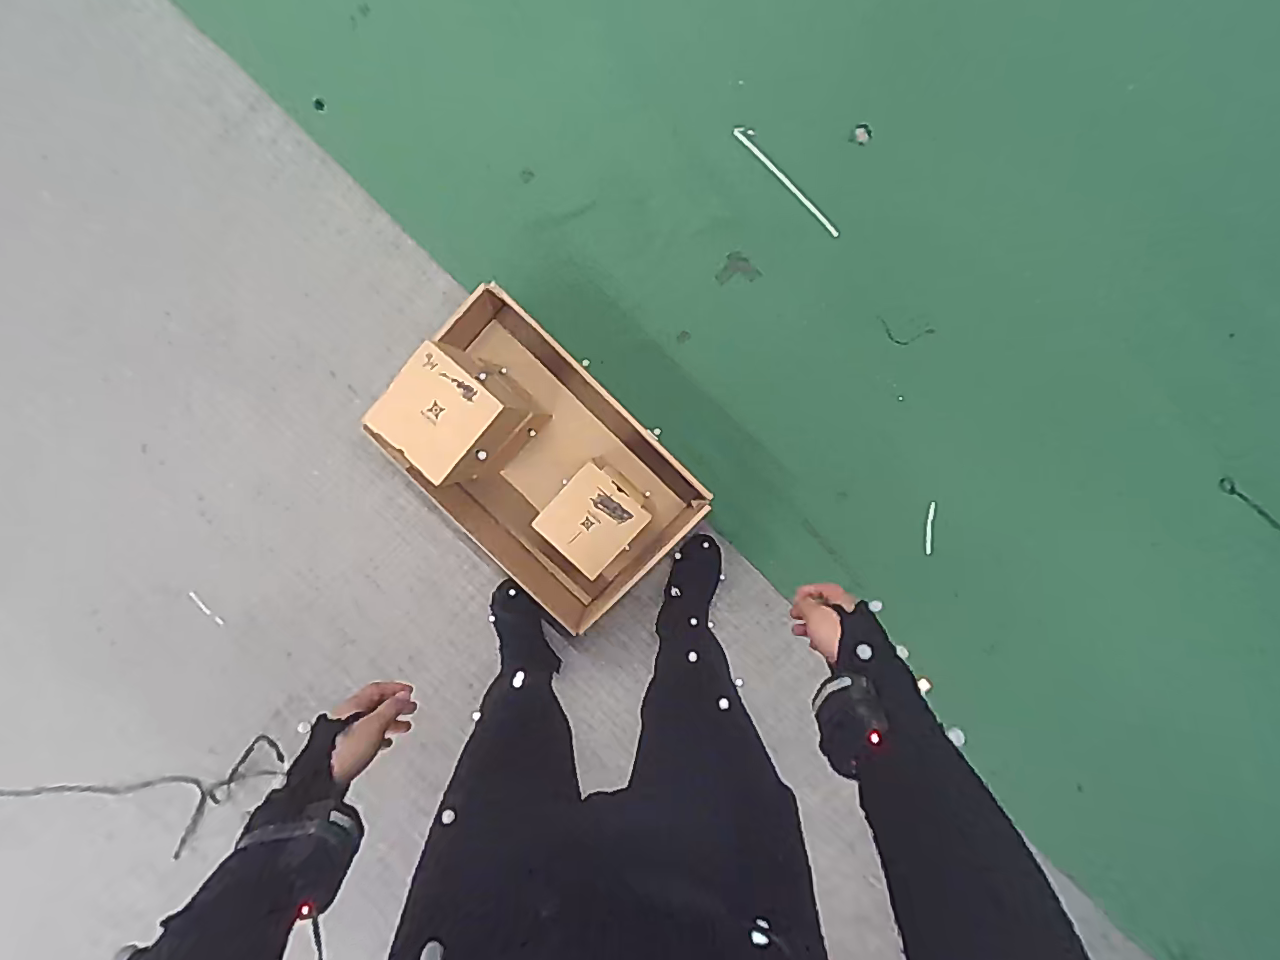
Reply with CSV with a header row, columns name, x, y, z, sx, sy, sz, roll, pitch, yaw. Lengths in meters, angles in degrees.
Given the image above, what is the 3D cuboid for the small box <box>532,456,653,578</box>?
name,x,y,z,sx,sy,sz,roll,pitch,yaw
small box,-0.089,0.065,1.109,0.168,0.176,0.179,43,98,-1

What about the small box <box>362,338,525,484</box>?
name,x,y,z,sx,sy,sz,roll,pitch,yaw
small box,-0.327,-0.116,0.939,0.168,0.176,0.179,42,97,-2
